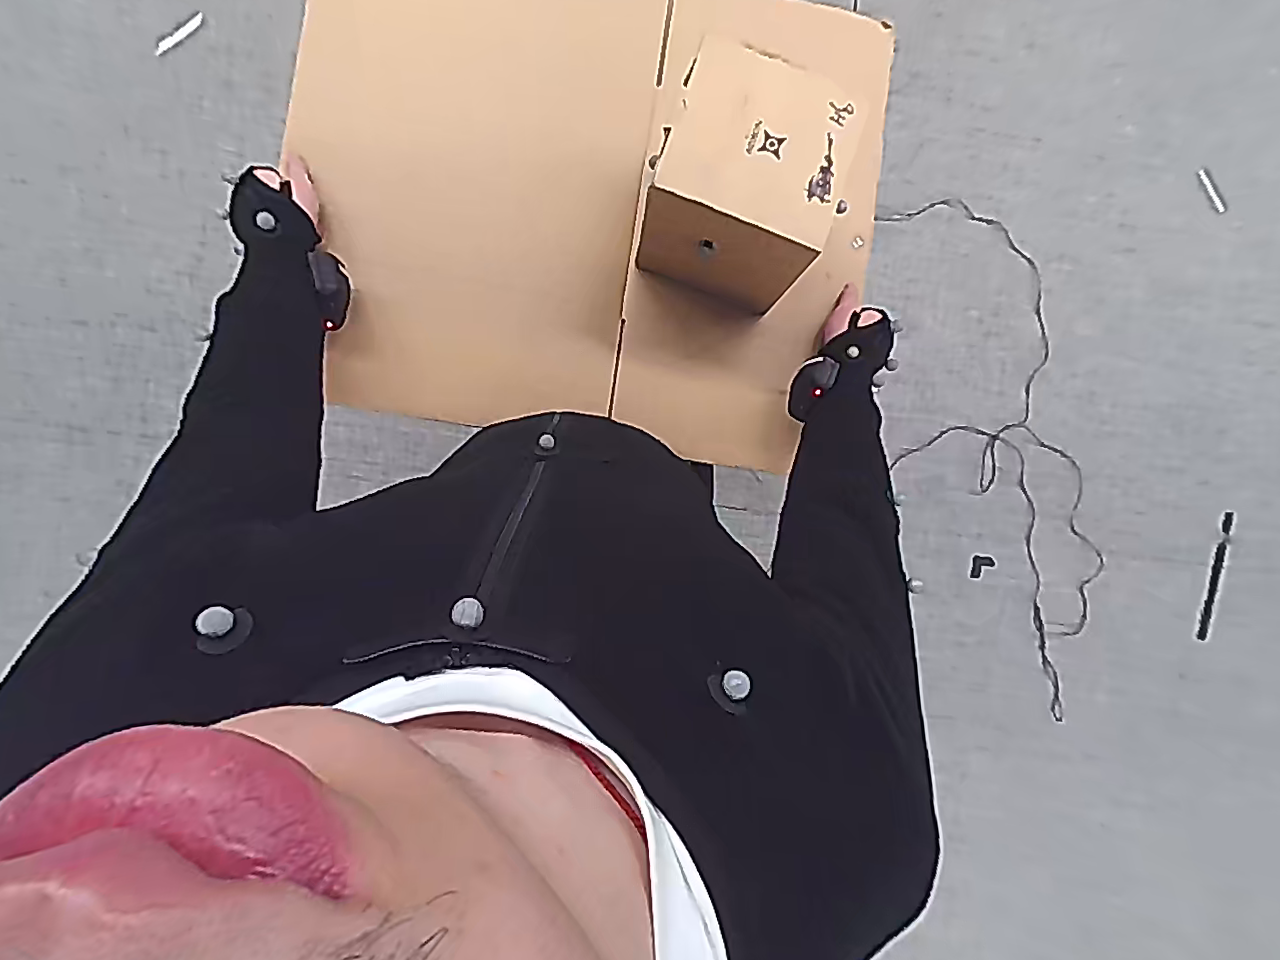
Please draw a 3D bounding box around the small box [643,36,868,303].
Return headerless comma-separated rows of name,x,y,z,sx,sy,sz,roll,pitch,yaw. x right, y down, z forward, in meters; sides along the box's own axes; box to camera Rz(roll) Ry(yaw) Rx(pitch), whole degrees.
small box,0.110,-0.320,0.598,0.179,0.176,0.168,19,86,-3
